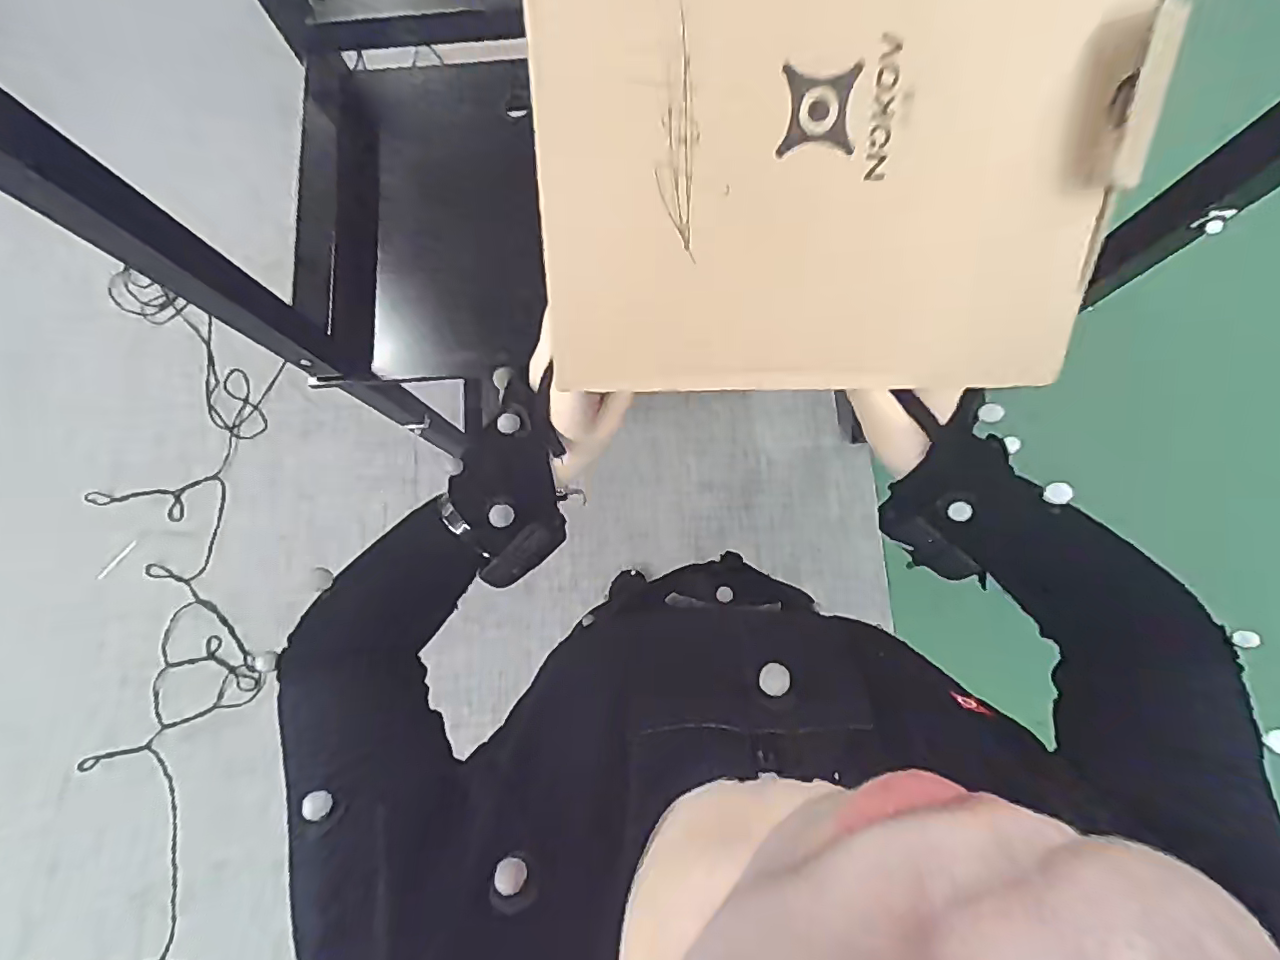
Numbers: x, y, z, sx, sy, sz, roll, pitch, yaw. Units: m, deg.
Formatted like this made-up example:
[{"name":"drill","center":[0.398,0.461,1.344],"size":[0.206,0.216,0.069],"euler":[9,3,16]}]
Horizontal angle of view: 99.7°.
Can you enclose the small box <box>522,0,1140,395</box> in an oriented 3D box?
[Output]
[{"name":"small box","center":[0.056,-0.138,0.238],"size":[0.179,0.176,0.168],"euler":[0,113,3]}]
